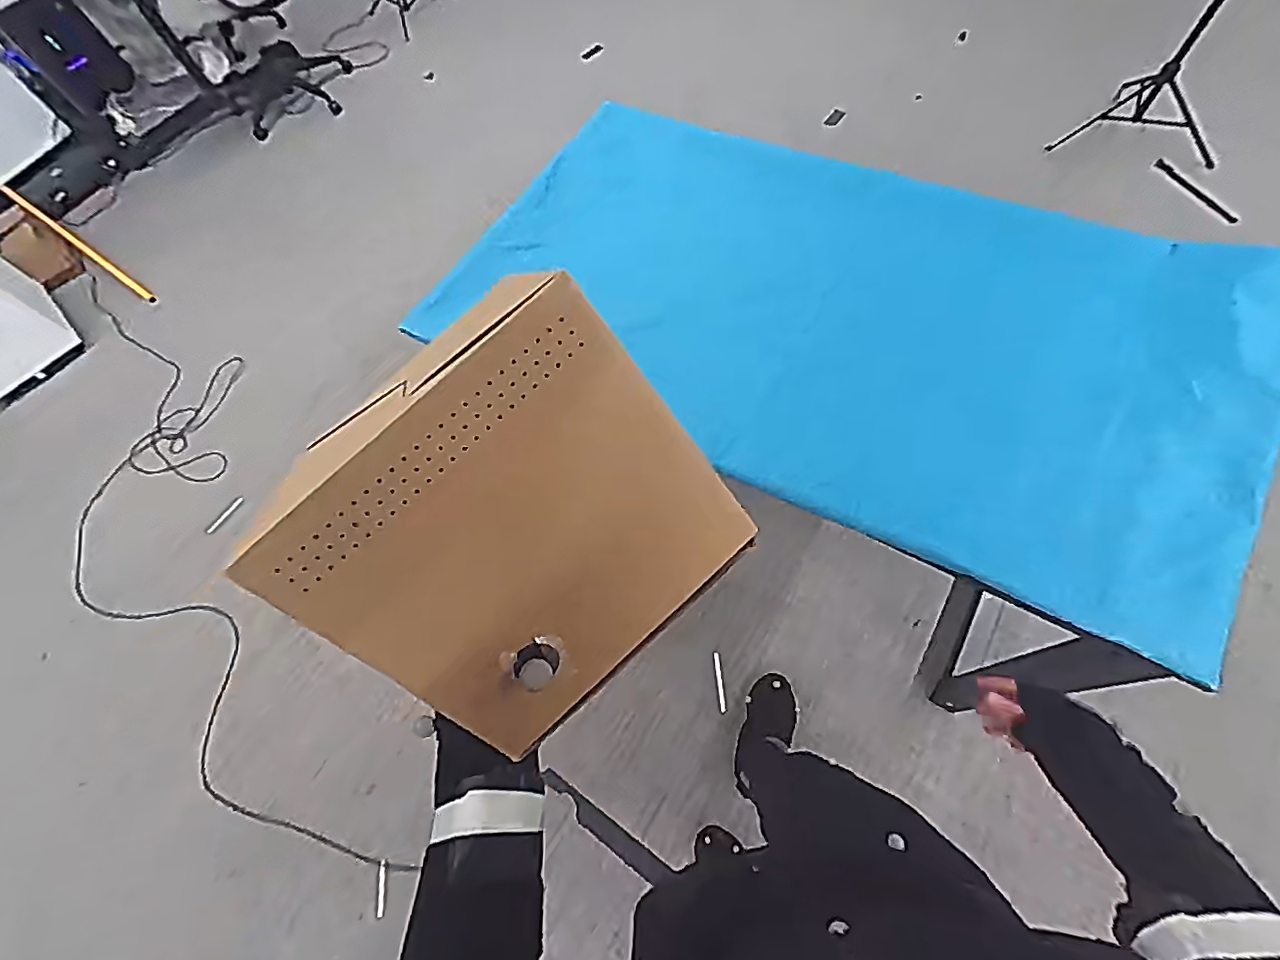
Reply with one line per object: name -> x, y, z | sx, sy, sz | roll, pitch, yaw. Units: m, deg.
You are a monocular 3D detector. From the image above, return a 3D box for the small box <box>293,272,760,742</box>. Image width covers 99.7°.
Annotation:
small box -> -0.071, 0.004, 0.323 | 0.179, 0.176, 0.168 | -42, 28, -4
